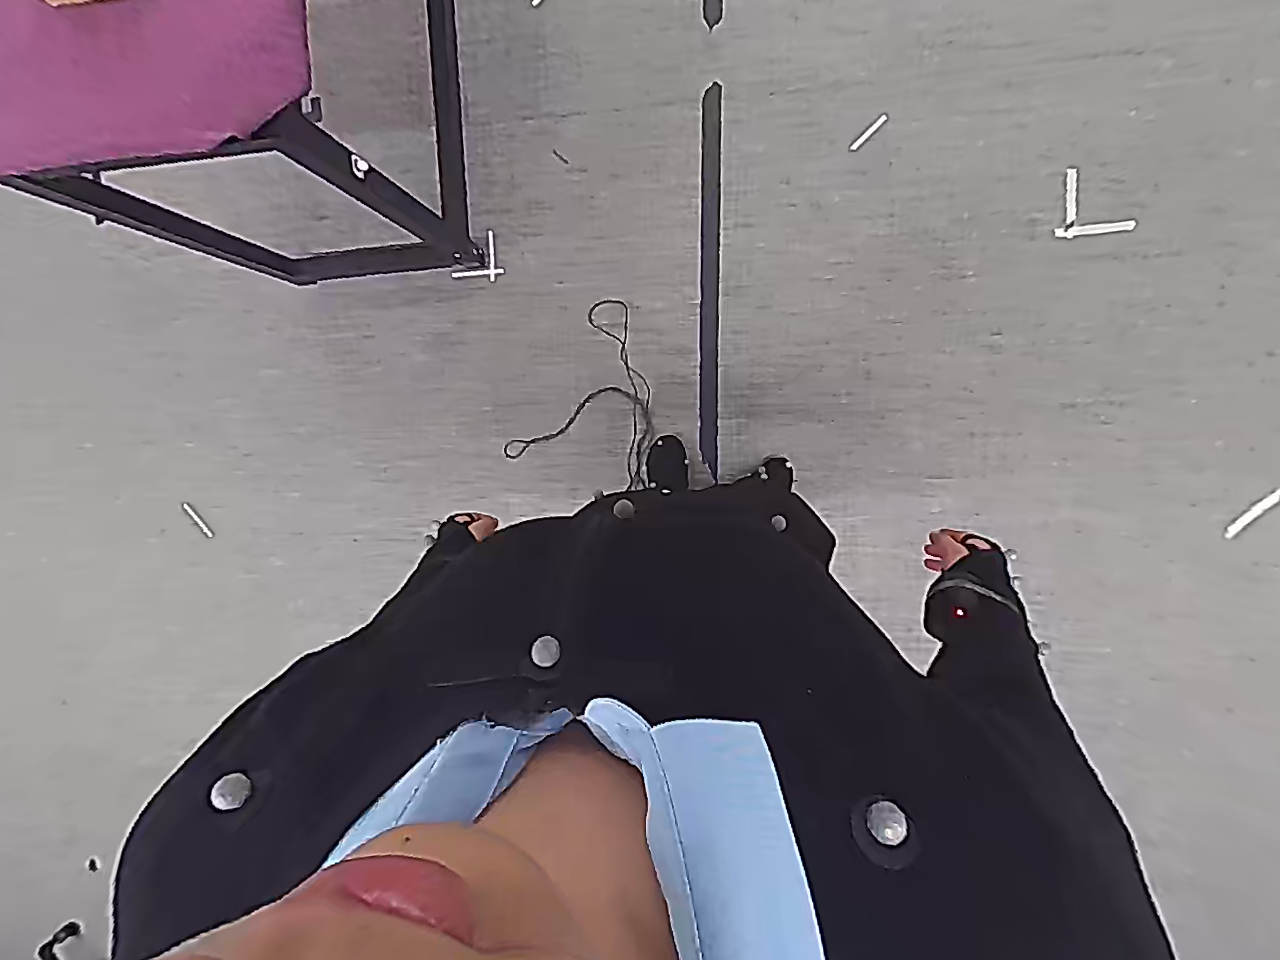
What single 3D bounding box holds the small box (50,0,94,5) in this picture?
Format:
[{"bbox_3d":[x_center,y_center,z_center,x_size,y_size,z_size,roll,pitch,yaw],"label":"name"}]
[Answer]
[{"bbox_3d":[-0.804,-0.782,0.714,0.179,0.176,0.168,0,95,8],"label":"small box"}]
